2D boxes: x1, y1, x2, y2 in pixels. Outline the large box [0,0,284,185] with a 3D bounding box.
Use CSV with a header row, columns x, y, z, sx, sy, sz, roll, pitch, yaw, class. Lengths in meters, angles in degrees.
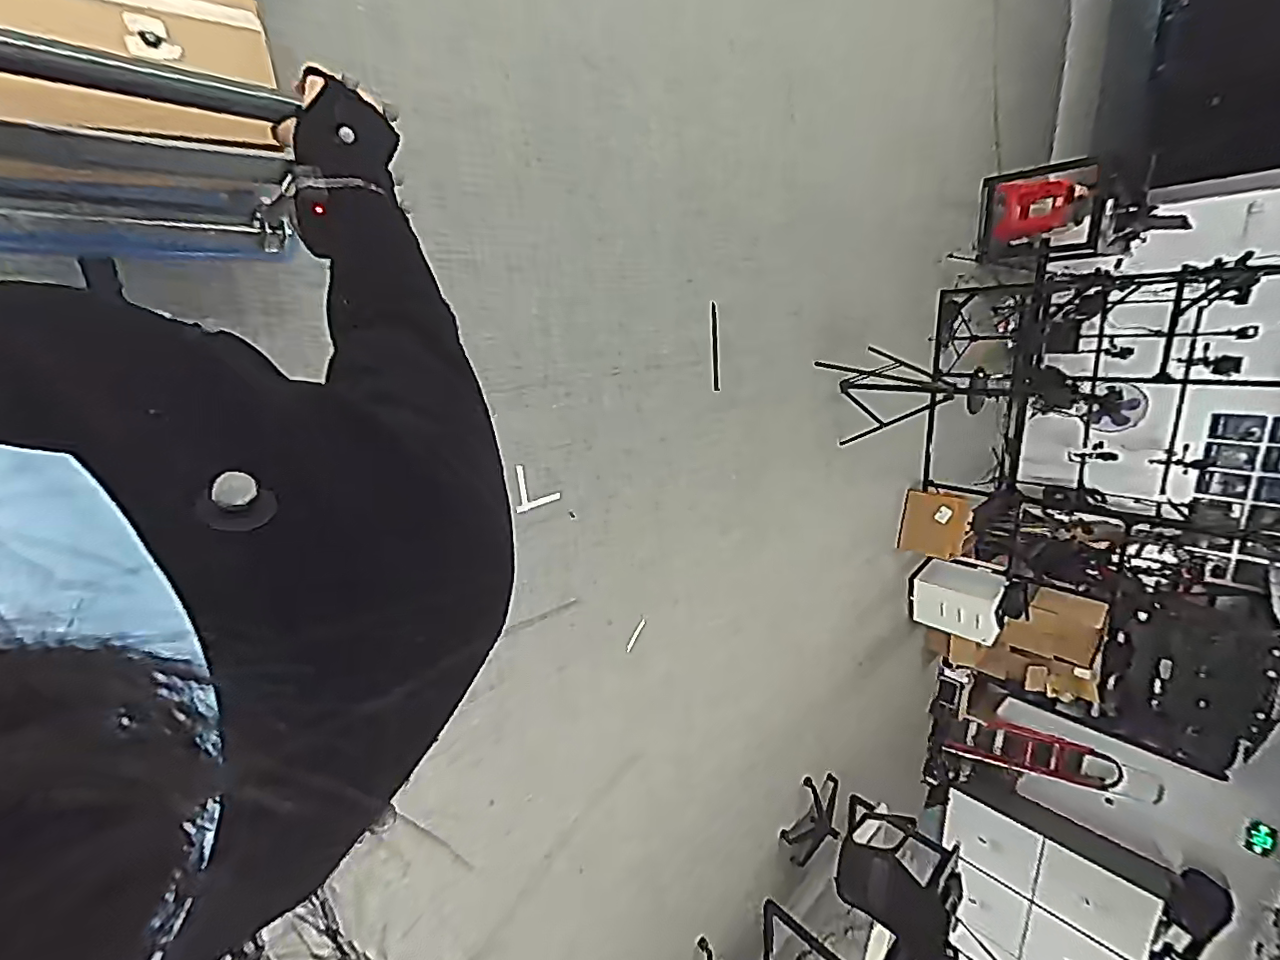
x,y,z,sx,sy,sz,roll,pitch,yaw,class
-0.808,-0.629,0.763,0.408,0.320,0.320,-22,115,-40,large box
